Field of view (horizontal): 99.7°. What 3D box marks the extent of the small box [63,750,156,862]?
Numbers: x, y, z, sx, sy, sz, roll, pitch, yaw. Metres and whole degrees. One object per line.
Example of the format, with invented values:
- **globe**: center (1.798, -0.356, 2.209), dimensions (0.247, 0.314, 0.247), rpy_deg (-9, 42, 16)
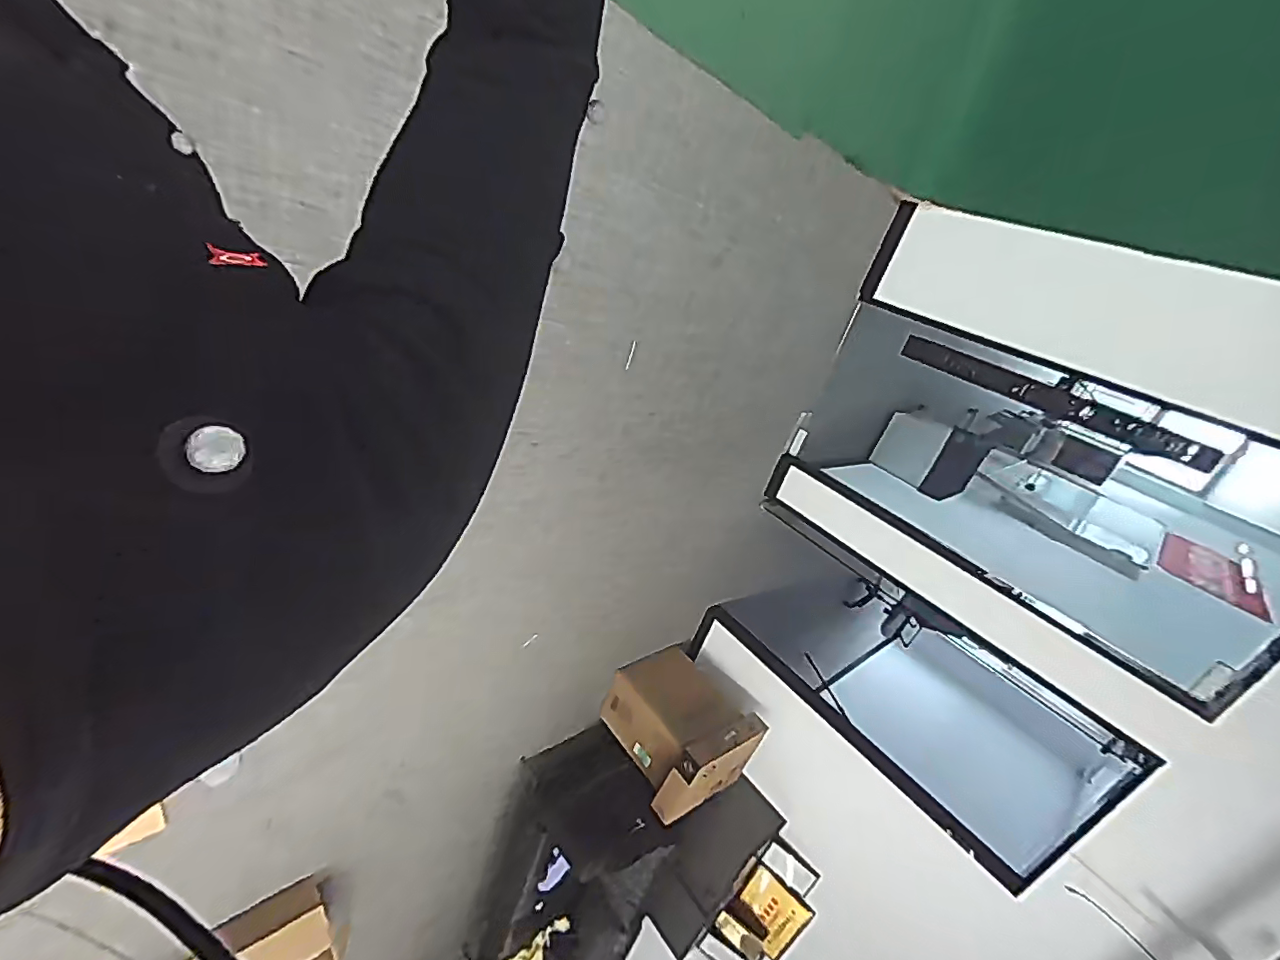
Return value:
- **small box**: center (-1.476, 0.901, 1.509), dimensions (0.168, 0.176, 0.179), rpy_deg (-11, 128, -42)
